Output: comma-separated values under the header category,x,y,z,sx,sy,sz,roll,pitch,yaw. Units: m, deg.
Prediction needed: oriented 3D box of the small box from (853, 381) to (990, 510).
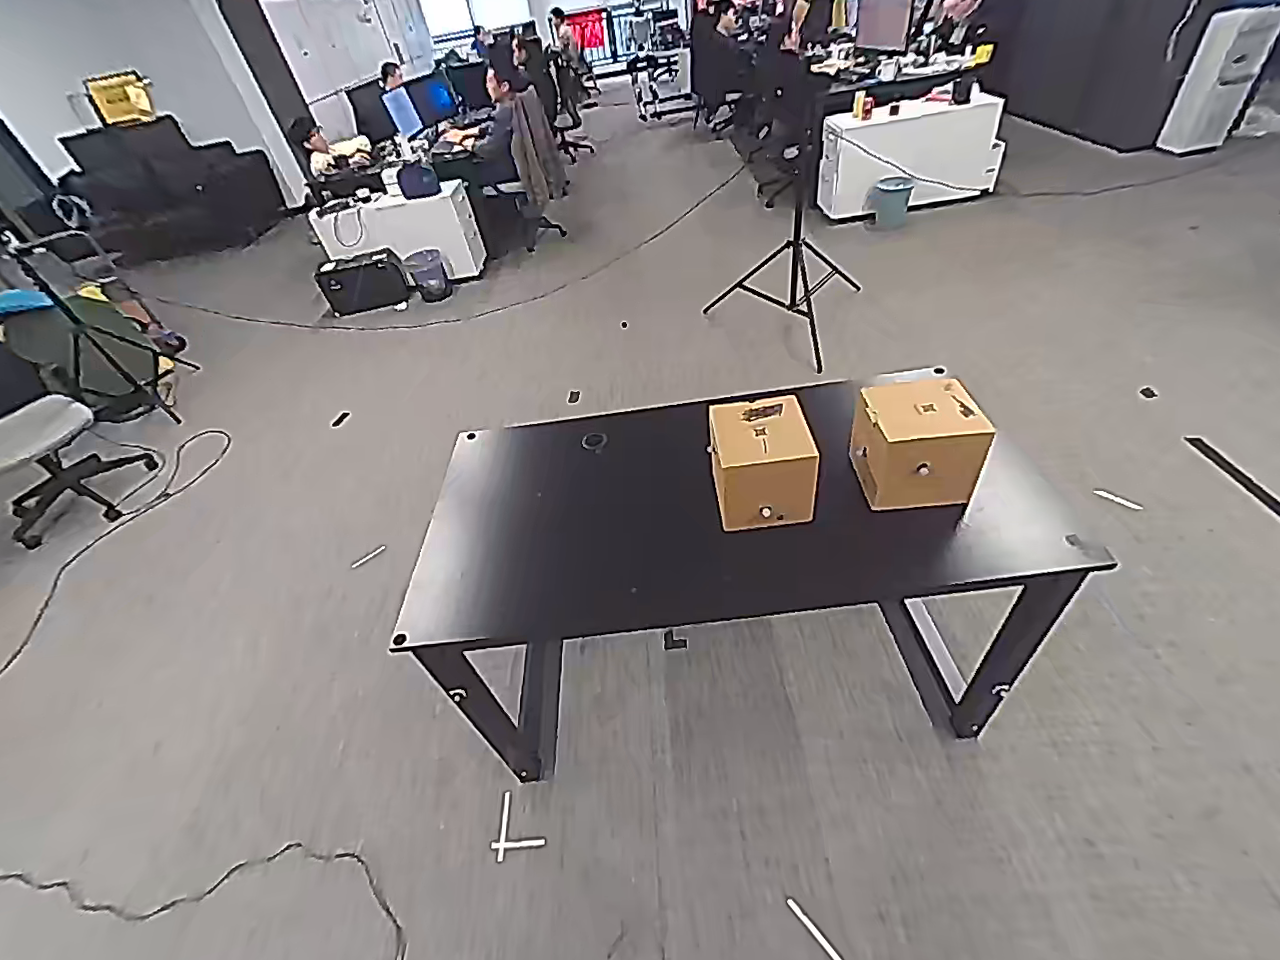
category,x,y,z,sx,sy,sz,roll,pitch,yaw
small box,0.503,-0.060,1.000,0.179,0.176,0.168,-6,42,7

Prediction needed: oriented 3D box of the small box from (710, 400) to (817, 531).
category,x,y,z,sx,sy,sz,roll,pitch,yaw
small box,0.224,-0.026,1.023,0.168,0.176,0.179,-7,43,4
